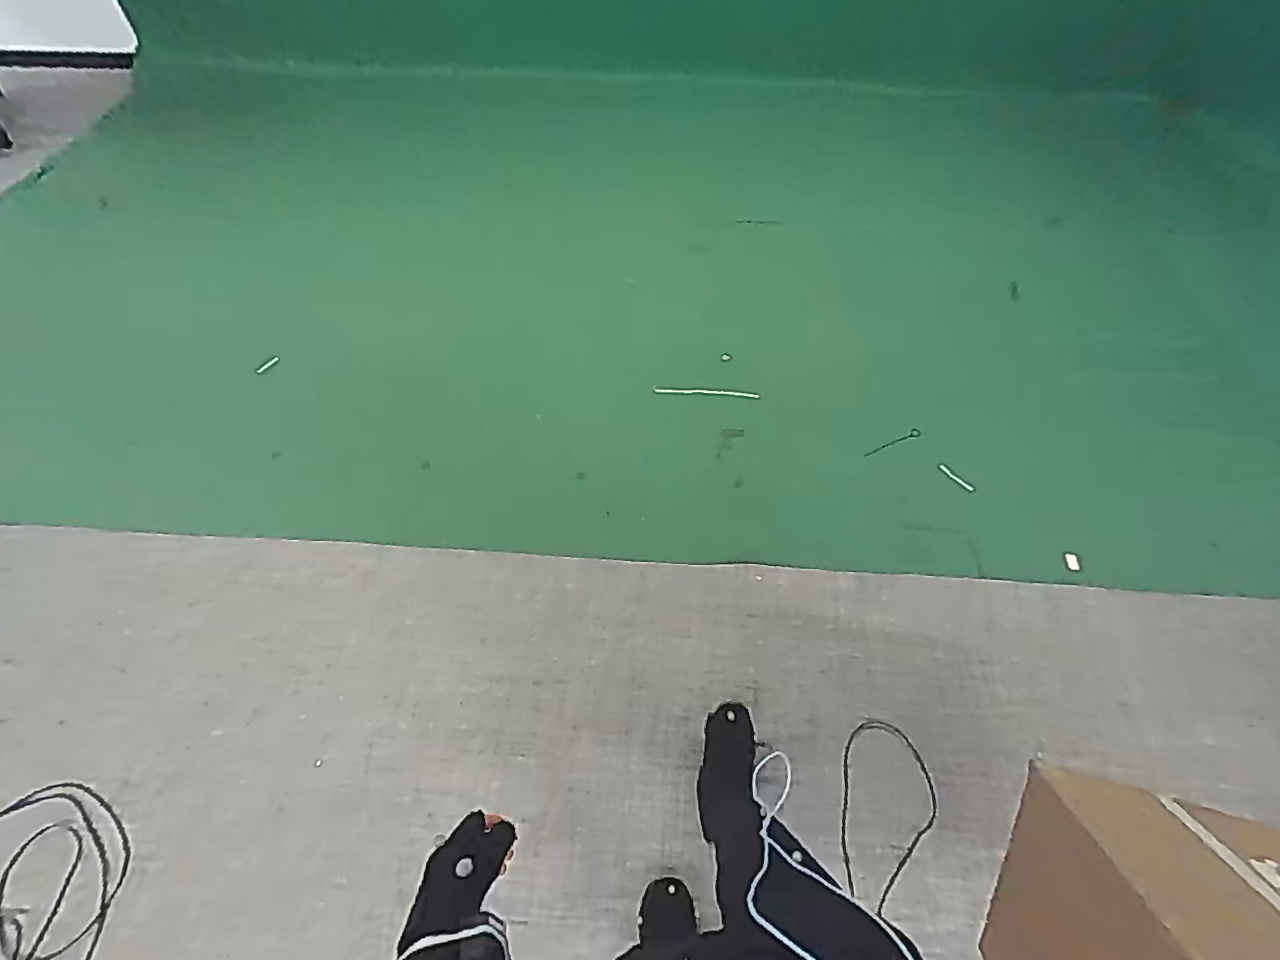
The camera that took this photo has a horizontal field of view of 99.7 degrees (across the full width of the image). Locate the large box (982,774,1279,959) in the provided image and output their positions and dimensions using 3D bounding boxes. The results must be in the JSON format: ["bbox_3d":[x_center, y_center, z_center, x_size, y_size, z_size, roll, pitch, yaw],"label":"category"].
[{"bbox_3d":[0.641,0.618,0.584,0.320,0.408,0.320,13,96,13],"label":"large box"}]
